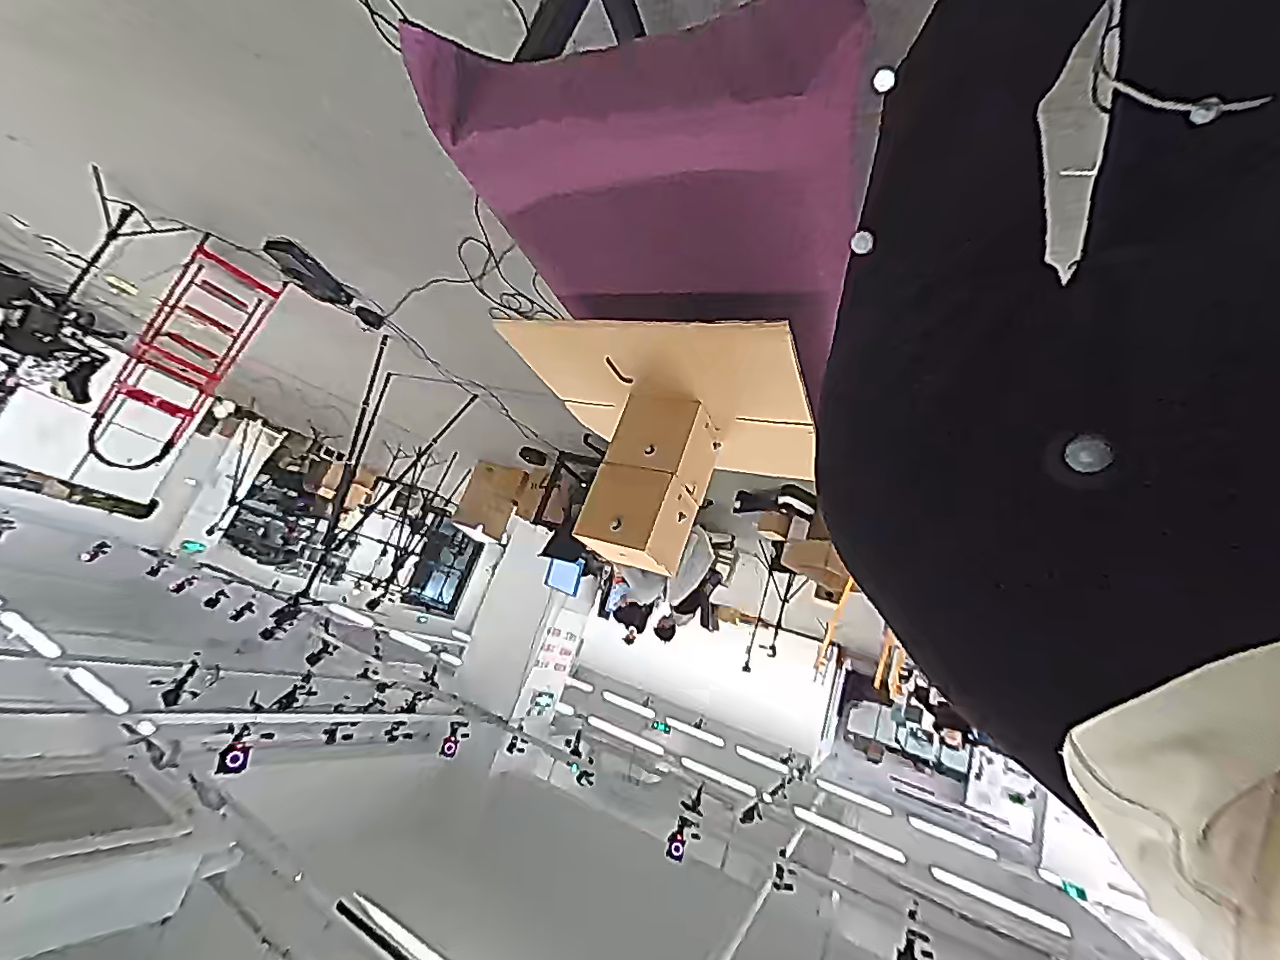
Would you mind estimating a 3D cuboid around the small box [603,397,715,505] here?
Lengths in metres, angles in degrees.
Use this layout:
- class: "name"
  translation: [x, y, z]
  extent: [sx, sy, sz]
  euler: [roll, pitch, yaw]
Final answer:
- class: "small box"
  translation: [0.051, -0.065, 1.173]
  extent: [0.179, 0.176, 0.168]
  euler: [11, 159, 29]

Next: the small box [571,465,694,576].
- class: "small box"
  translation: [-0.009, 0.080, 1.129]
  extent: [0.179, 0.176, 0.168]
  euler: [9, 158, 30]
